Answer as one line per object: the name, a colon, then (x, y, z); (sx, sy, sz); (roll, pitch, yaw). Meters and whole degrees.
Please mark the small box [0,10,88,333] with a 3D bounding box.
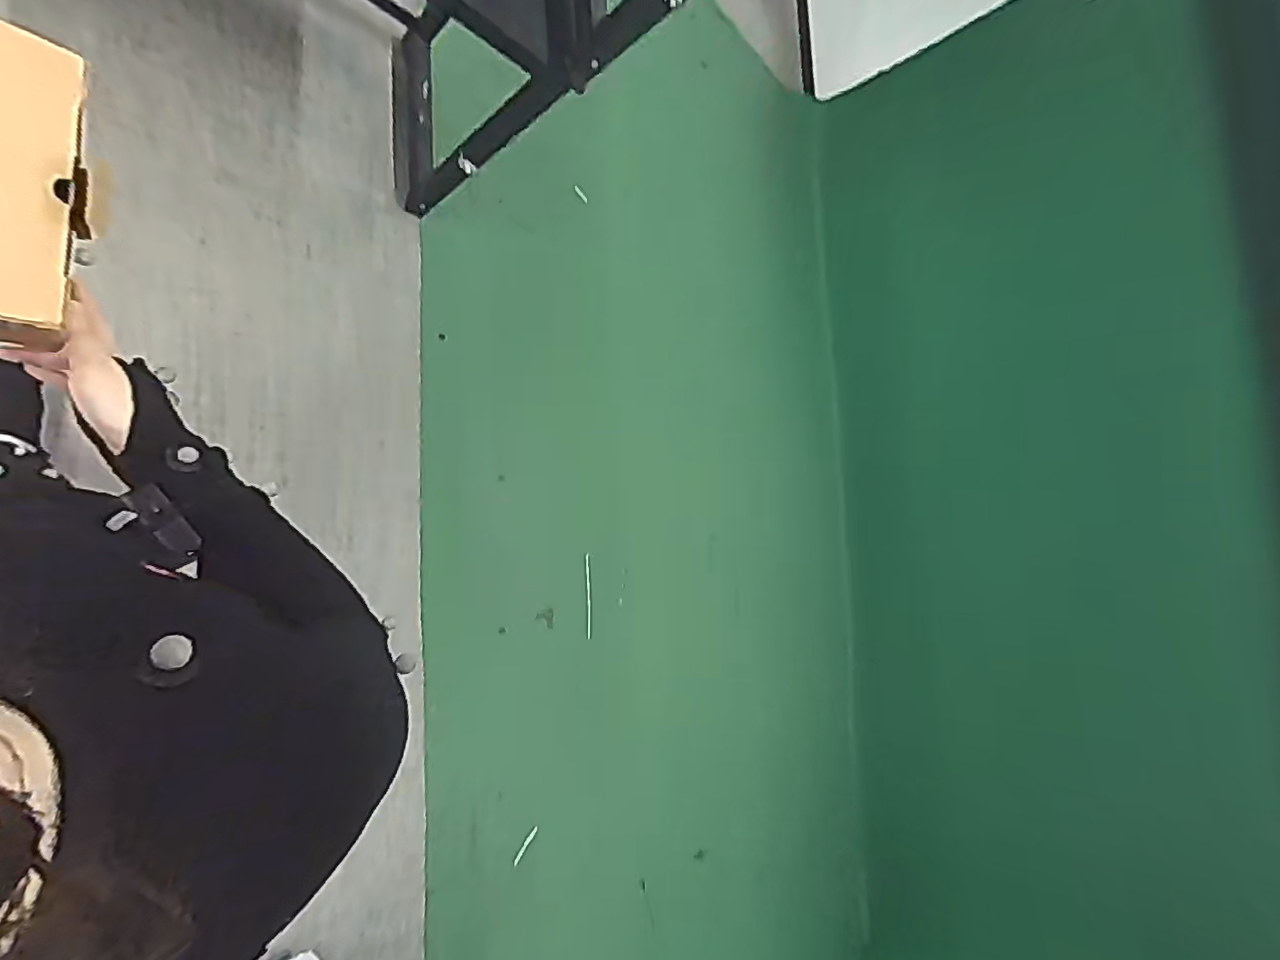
small box: (-0.461, -0.192, 0.319); (0.179, 0.176, 0.168); (4, 92, -49)
